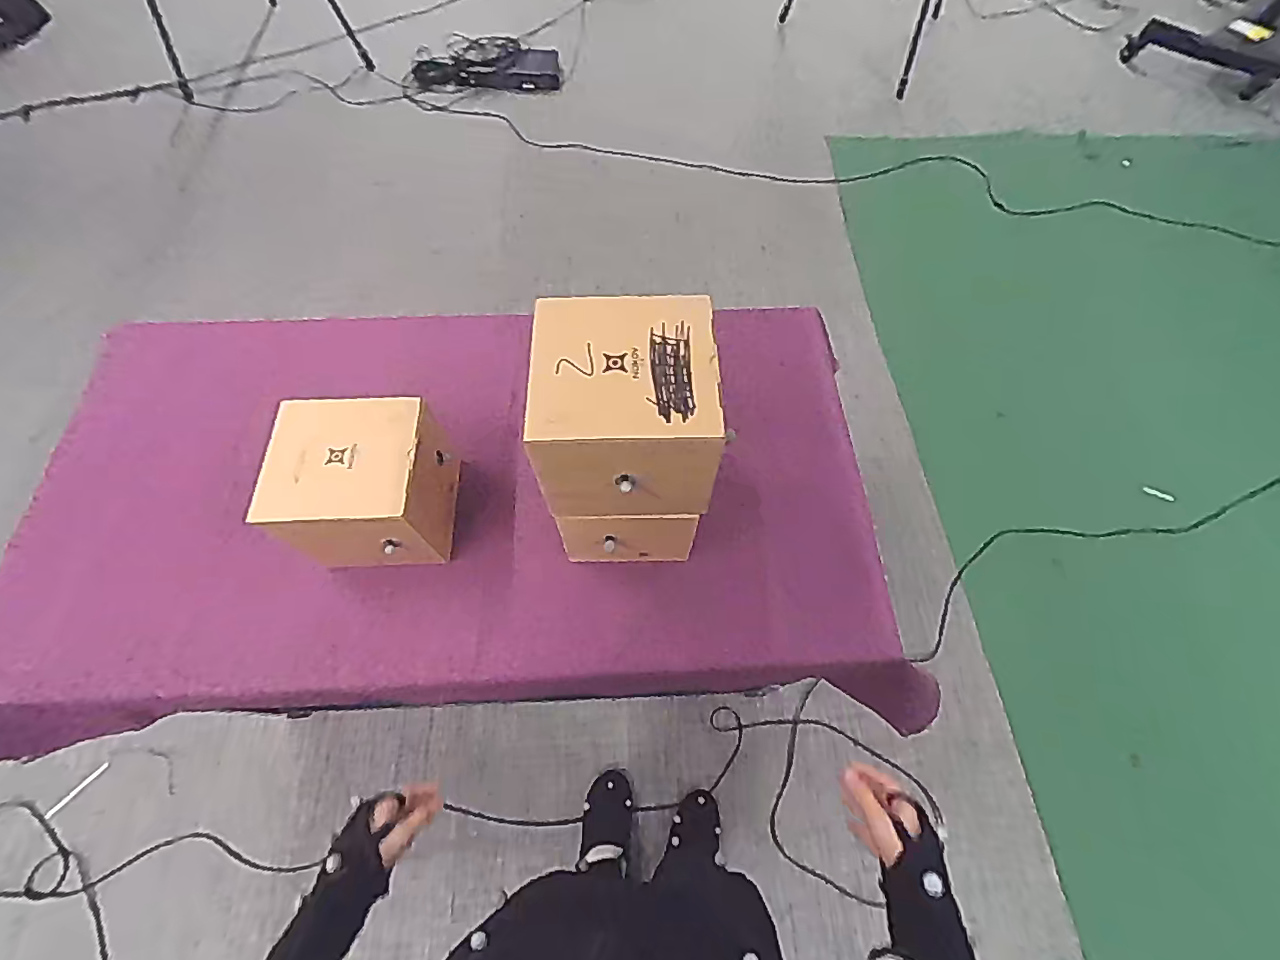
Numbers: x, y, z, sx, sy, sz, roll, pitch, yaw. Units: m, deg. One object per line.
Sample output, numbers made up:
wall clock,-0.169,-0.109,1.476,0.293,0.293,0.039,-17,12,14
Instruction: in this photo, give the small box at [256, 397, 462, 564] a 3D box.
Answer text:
small box,-0.347,0.007,0.712,0.179,0.176,0.168,-2,62,-1

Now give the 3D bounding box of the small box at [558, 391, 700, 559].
small box,-0.012,0.001,0.721,0.168,0.176,0.179,0,62,-1
